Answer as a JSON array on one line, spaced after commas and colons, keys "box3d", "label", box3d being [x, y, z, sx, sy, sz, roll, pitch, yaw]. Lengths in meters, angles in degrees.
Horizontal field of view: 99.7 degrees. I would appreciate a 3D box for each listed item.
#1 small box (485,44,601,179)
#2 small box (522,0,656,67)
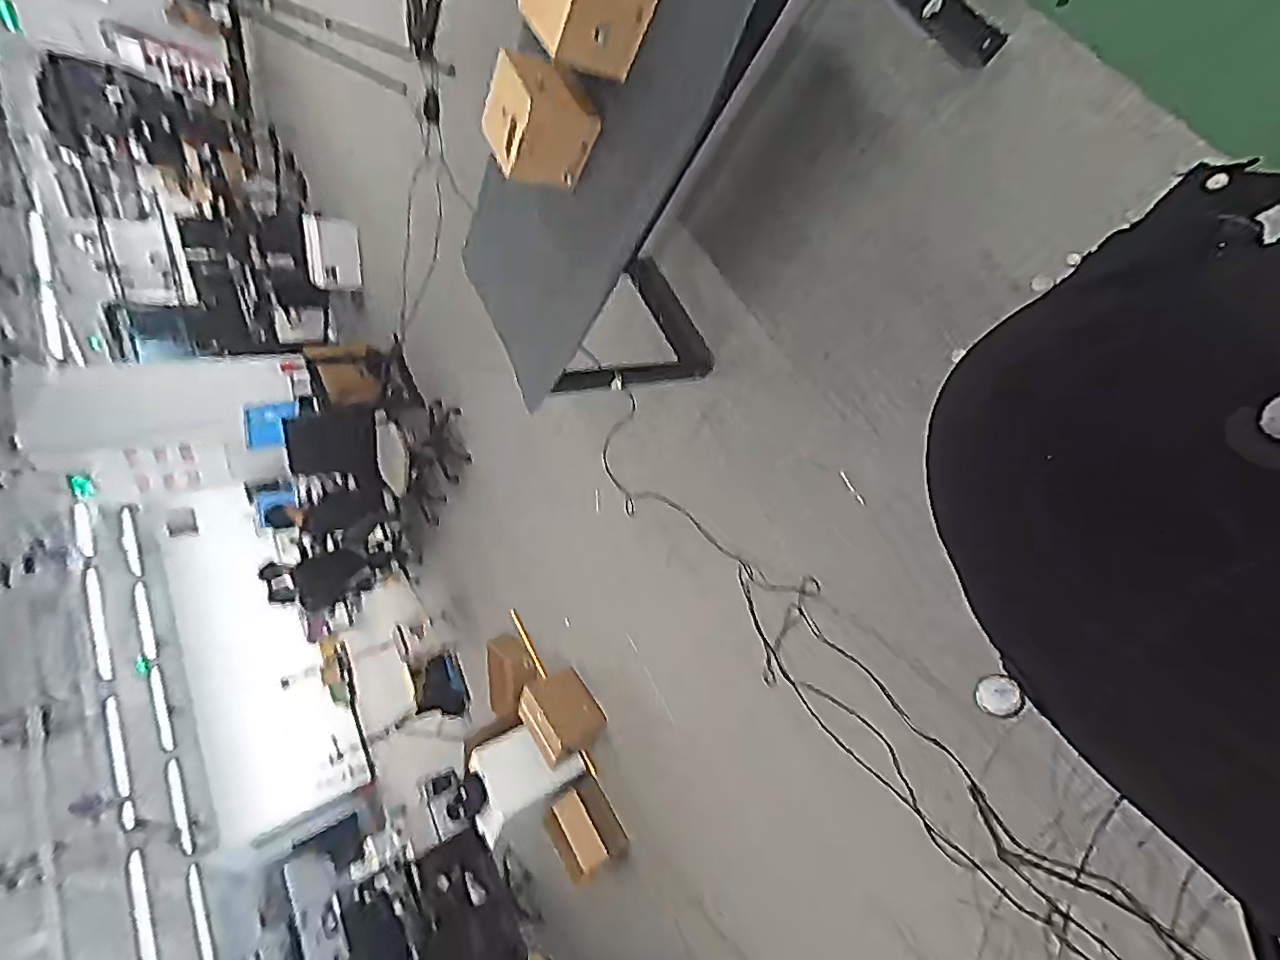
[{"box3d": [-0.208, -0.778, 1.162, 0.168, 0.176, 0.179, -45, 65, 48], "label": "small box"}, {"box3d": [-0.088, -0.890, 0.977, 0.179, 0.176, 0.168, 62, 141, 18], "label": "small box"}]
